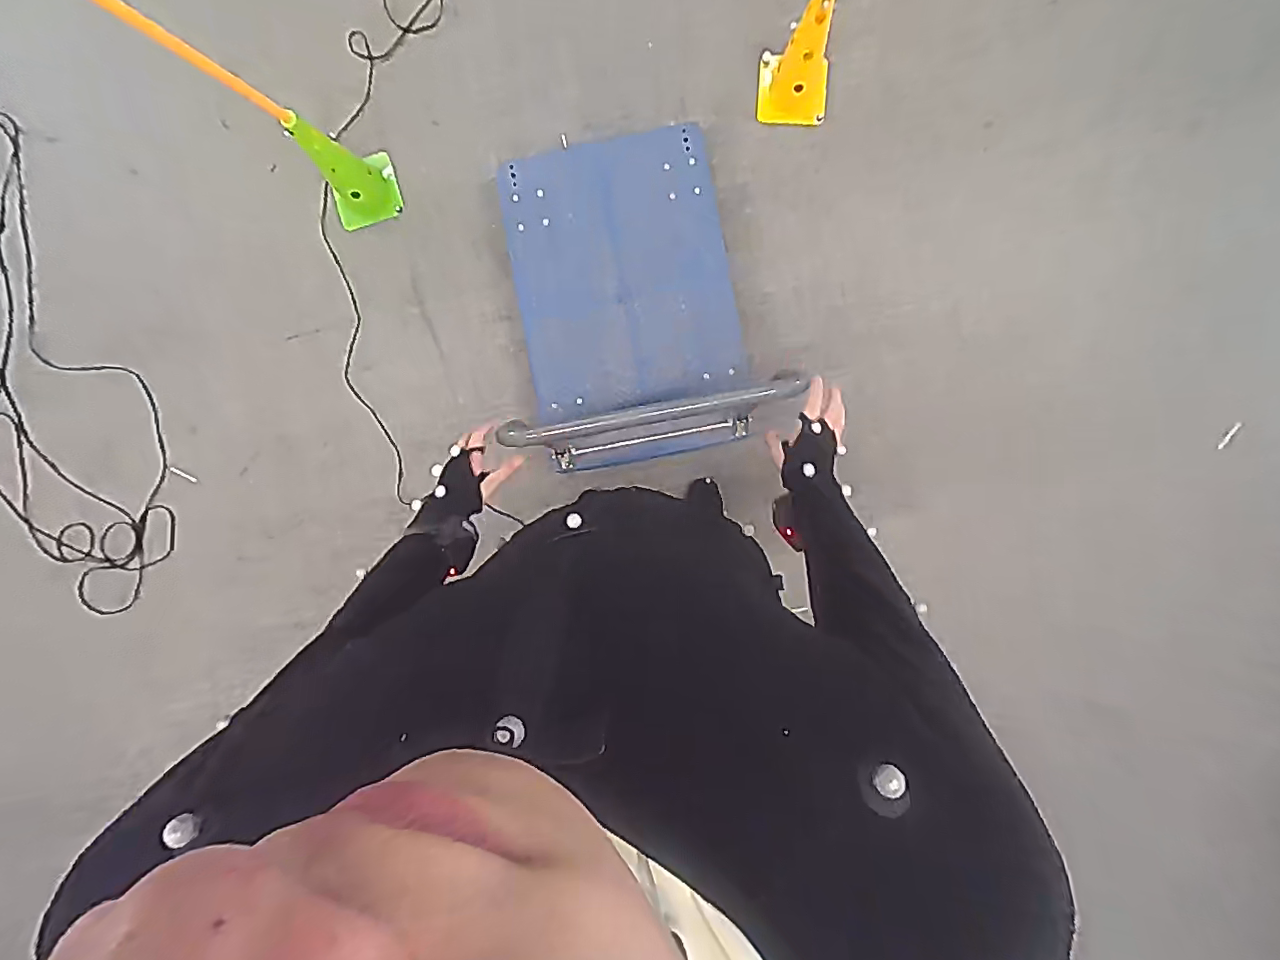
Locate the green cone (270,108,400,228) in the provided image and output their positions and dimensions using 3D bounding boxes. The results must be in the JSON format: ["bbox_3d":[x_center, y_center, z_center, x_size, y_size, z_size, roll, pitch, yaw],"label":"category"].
[{"bbox_3d":[-0.862,-0.893,1.489,0.202,0.368,0.200,-17,90,4],"label":"green cone"}]
